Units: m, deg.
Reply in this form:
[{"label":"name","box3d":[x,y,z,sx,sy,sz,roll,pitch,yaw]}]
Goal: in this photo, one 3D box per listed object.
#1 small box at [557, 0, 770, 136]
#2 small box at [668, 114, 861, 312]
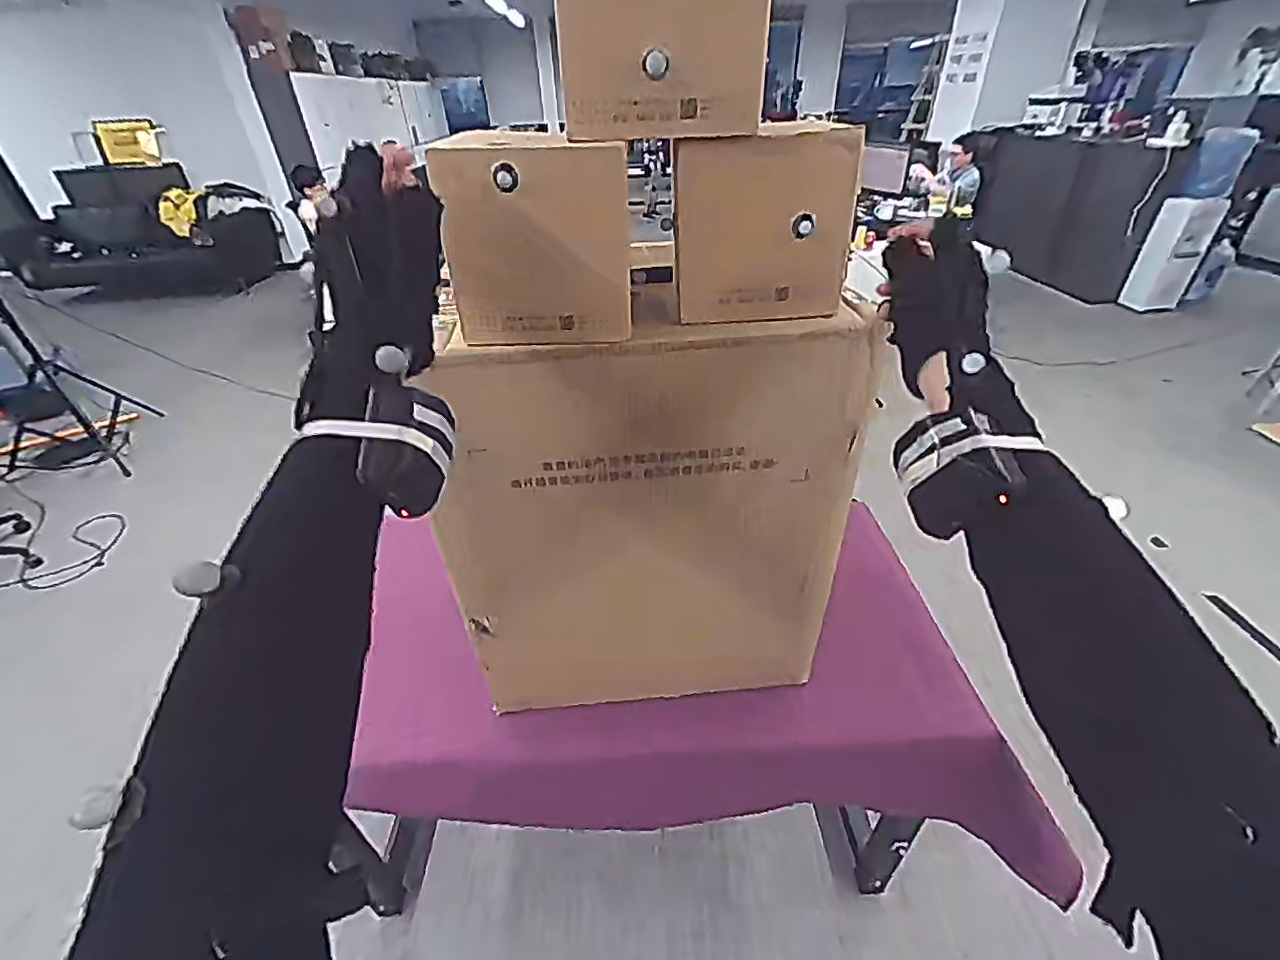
[{"label":"small box","box3d":[0.016,-0.408,0.478,0.168,0.176,0.179,-2,35,0]},{"label":"small box","box3d":[0.117,-0.284,0.580,0.168,0.176,0.179,-2,34,2]}]
